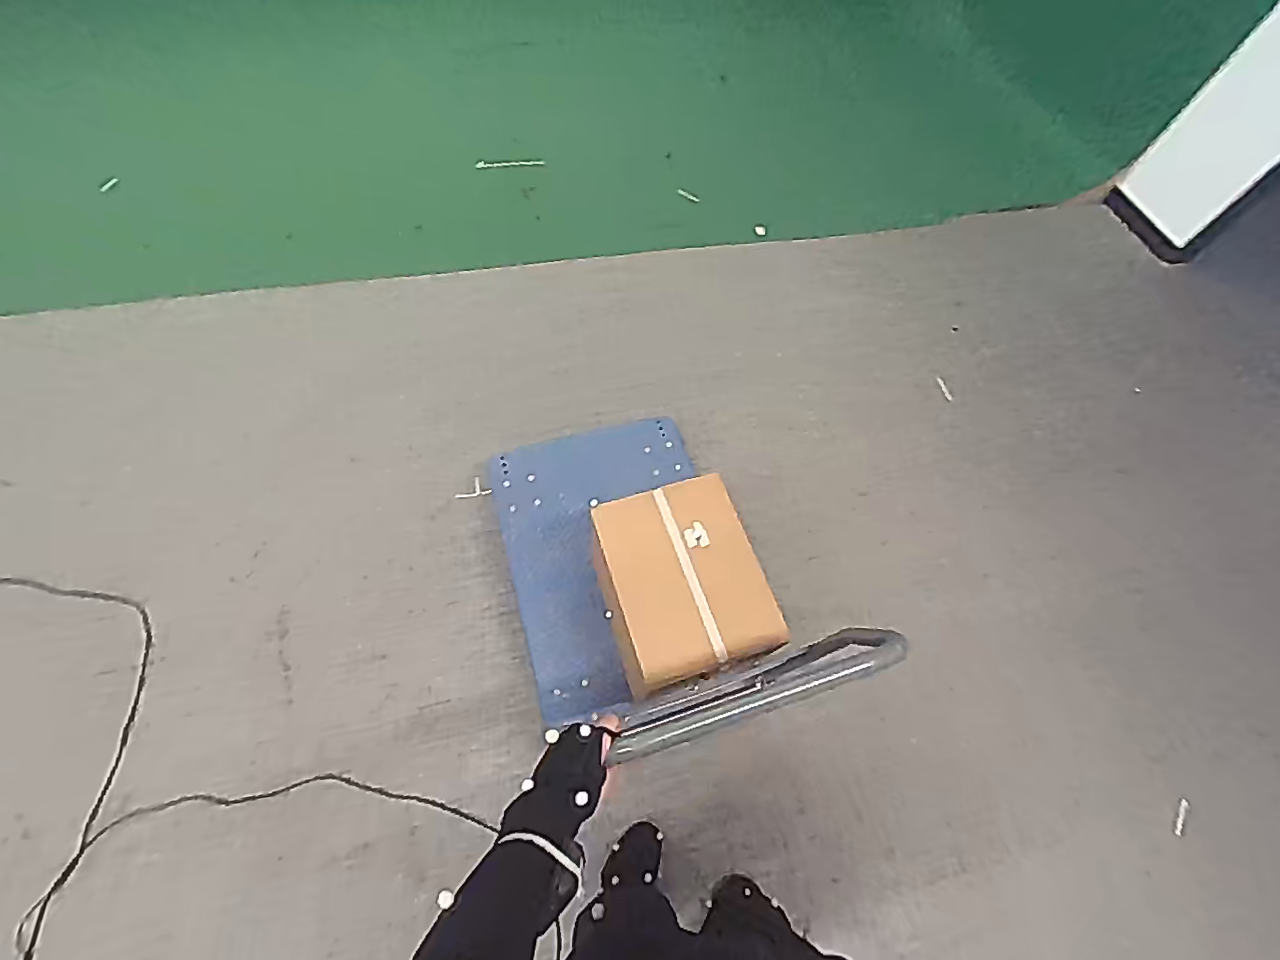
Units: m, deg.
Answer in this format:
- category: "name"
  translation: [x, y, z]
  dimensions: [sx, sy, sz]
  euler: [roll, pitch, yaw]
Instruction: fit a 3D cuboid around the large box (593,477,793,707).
- category: "large box"
  translation: [0.094, 0.268, 1.270]
  dimensions: [0.320, 0.320, 0.408]
  euler: [-14, 64, -13]
